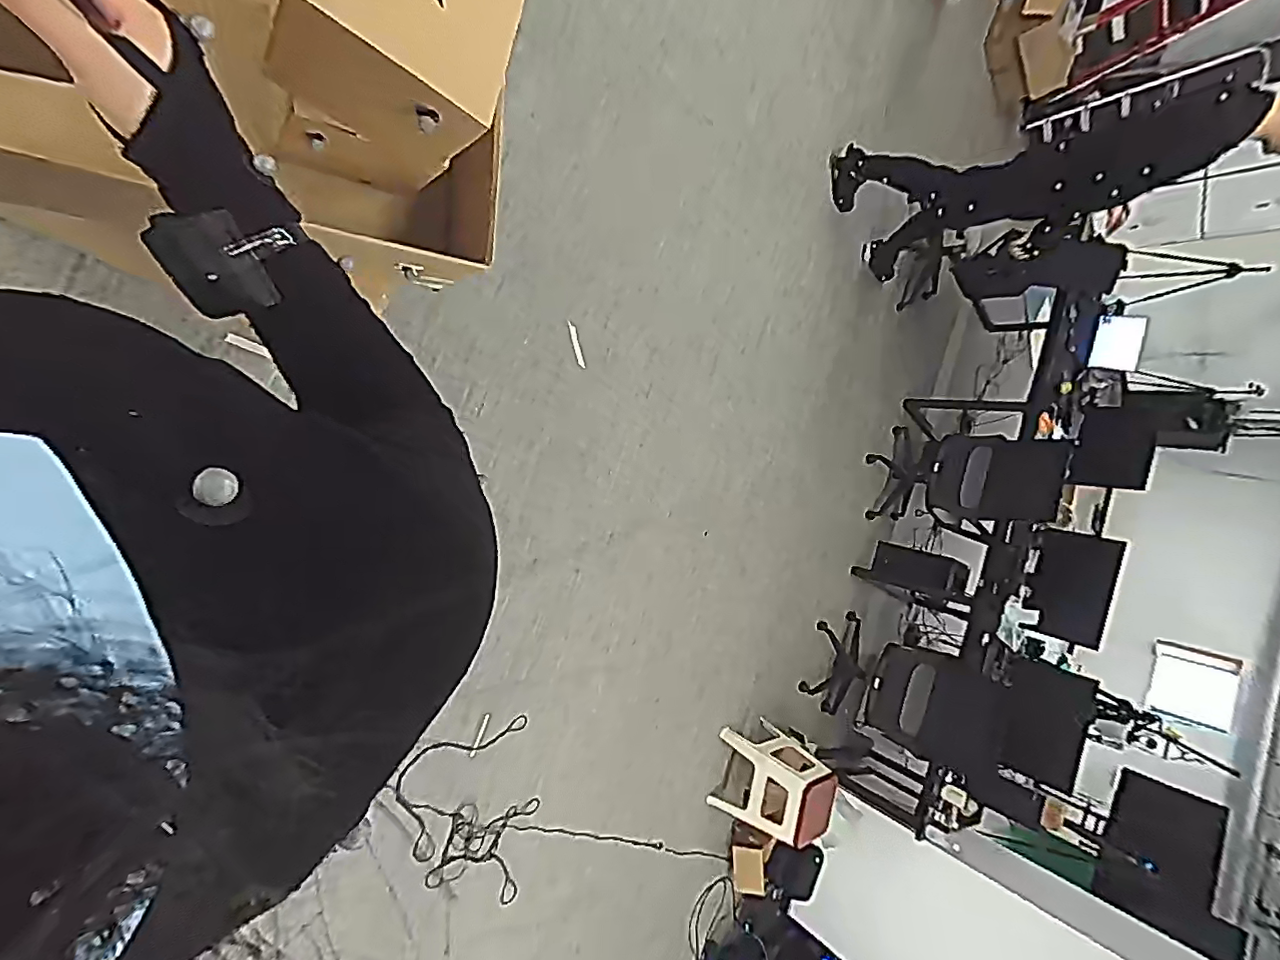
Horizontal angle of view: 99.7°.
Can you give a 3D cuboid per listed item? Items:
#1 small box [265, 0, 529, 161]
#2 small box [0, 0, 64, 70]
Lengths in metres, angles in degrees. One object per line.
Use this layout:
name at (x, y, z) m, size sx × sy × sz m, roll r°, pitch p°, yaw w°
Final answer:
small box at (-0.240, -0.450, 0.534) m, size 0.179 × 0.176 × 0.168 m, roll 16°, pitch 88°, yaw -42°
small box at (-0.431, -0.339, 0.268) m, size 0.179 × 0.176 × 0.168 m, roll -11°, pitch 111°, yaw -37°
